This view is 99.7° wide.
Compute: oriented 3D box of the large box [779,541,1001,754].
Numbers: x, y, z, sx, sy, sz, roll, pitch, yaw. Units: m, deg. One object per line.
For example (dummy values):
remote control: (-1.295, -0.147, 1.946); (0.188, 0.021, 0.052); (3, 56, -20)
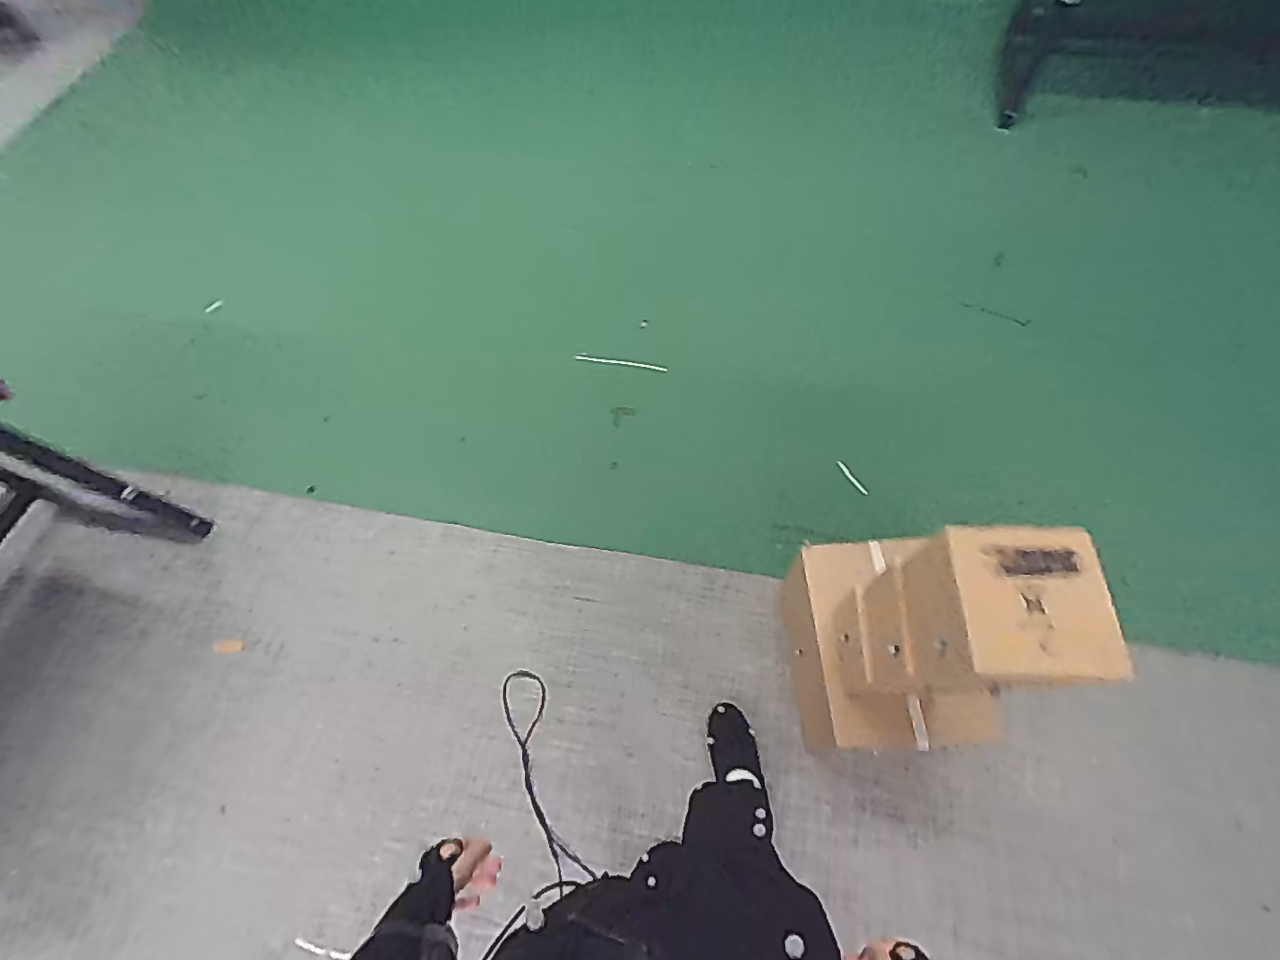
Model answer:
large box: (0.518, 0.387, 1.223); (0.320, 0.320, 0.408); (-3, 62, 2)

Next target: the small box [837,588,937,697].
small box: (0.471, 0.303, 0.993); (0.179, 0.176, 0.168); (1, 64, 5)

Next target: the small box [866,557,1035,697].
small box: (0.466, 0.234, 0.847); (0.168, 0.176, 0.179); (3, 64, 6)
